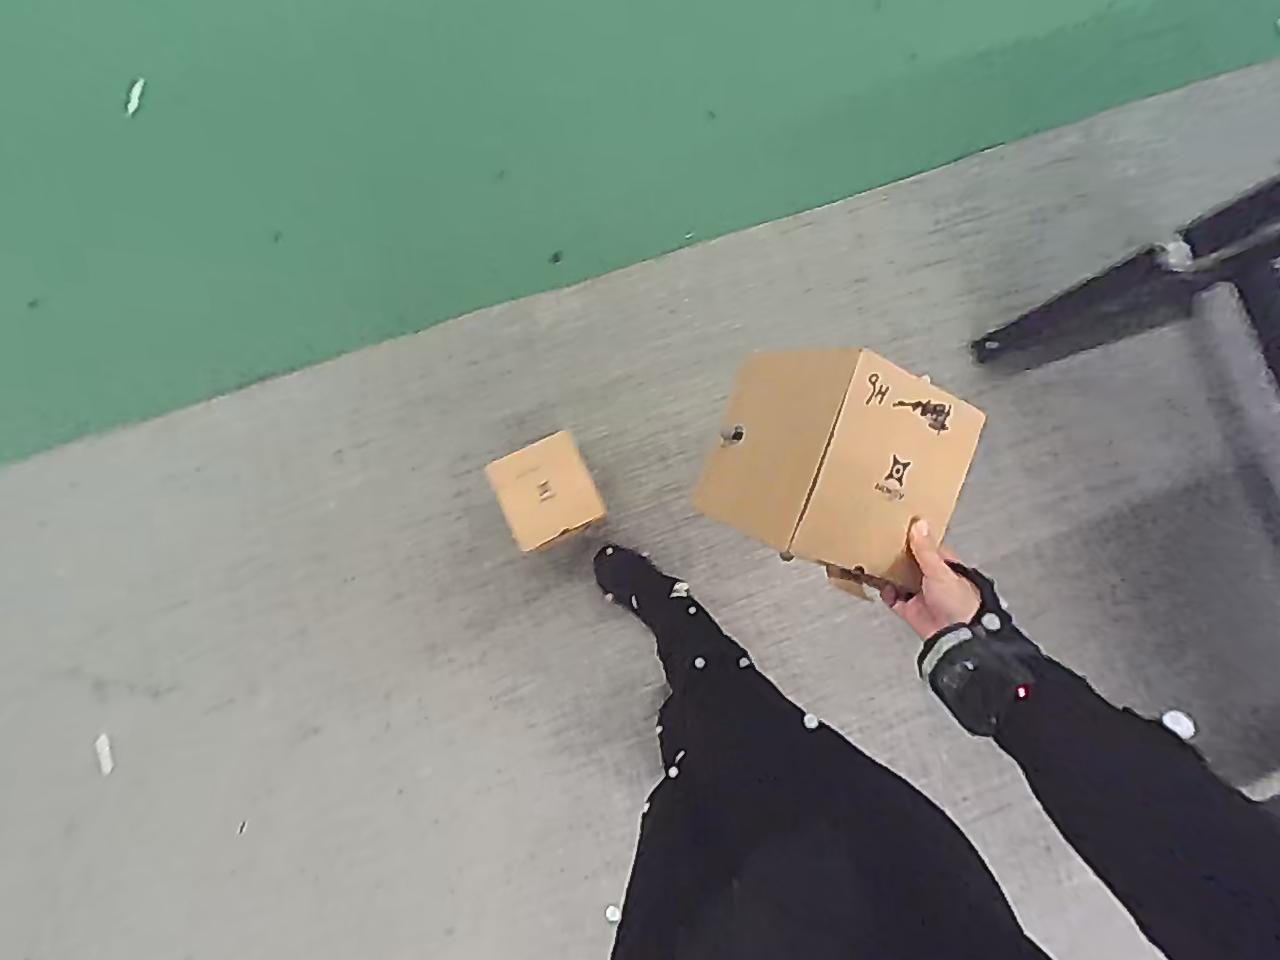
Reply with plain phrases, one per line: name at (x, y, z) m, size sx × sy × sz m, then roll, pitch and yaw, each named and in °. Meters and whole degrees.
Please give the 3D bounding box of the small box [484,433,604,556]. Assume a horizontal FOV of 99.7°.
small box at (-0.175, 0.033, 1.052) m, size 0.168 × 0.176 × 0.179 m, roll -26°, pitch 84°, yaw -6°
